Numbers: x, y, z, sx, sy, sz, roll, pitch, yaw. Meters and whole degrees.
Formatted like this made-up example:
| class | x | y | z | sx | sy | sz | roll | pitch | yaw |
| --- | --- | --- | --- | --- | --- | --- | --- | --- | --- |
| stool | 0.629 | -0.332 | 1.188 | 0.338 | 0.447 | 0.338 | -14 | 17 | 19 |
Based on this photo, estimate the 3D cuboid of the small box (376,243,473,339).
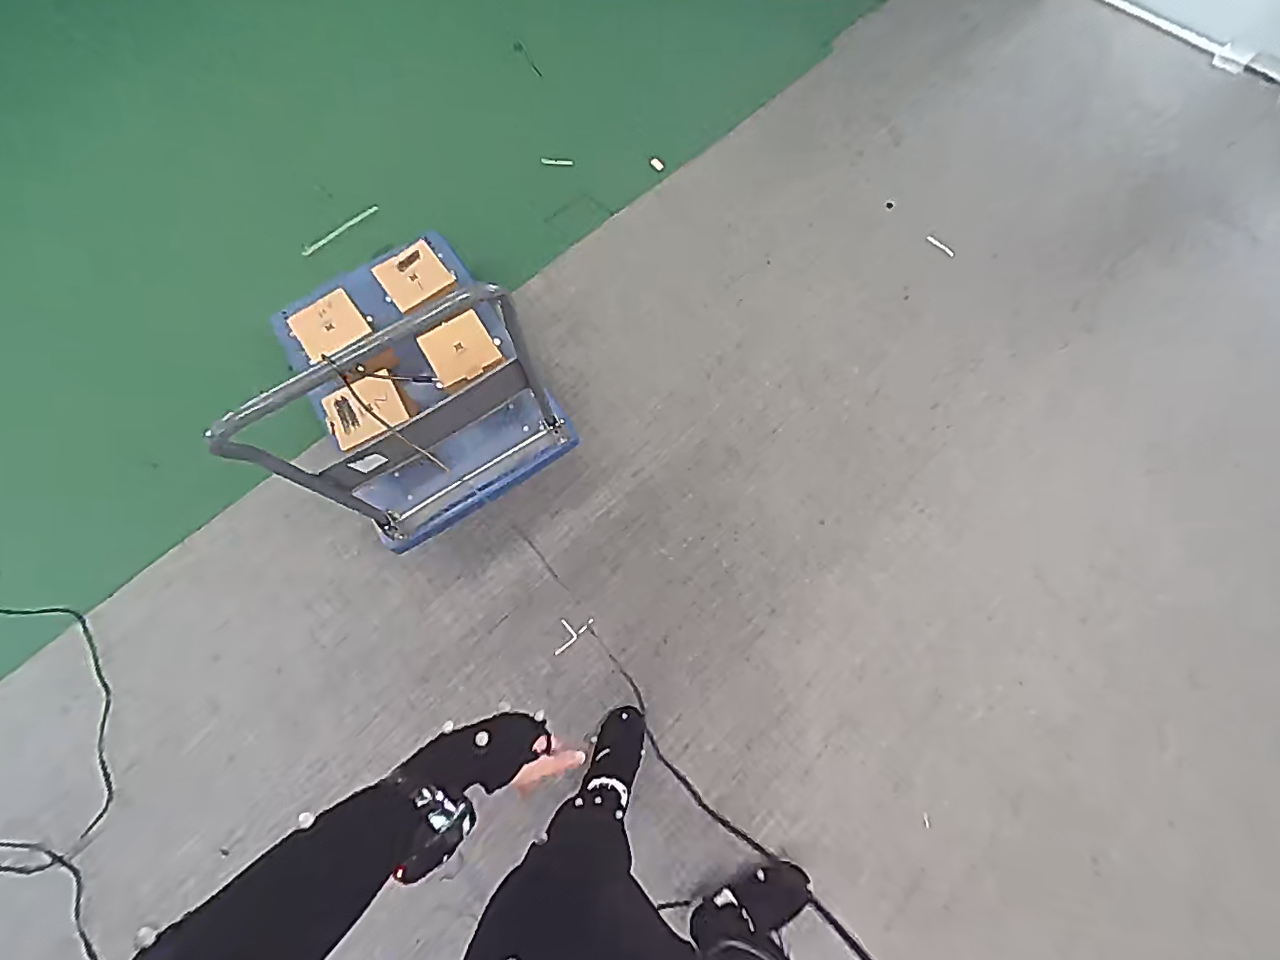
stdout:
| class | x | y | z | sx | sy | sz | roll | pitch | yaw |
| --- | --- | --- | --- | --- | --- | --- | --- | --- | --- |
| small box | -0.599 | -0.517 | 1.525 | 0.168 | 0.176 | 0.179 | -36 | 75 | -9 |

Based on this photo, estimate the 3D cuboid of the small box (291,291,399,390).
| class | x | y | z | sx | sy | sz | roll | pitch | yaw |
| --- | --- | --- | --- | --- | --- | --- | --- | --- | --- |
| small box | -0.799 | -0.370 | 1.483 | 0.168 | 0.176 | 0.179 | -36 | 74 | -10 |

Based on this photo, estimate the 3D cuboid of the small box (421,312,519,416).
| class | x | y | z | sx | sy | sz | roll | pitch | yaw |
| --- | --- | --- | --- | --- | --- | --- | --- | --- | --- |
| small box | -0.450 | -0.304 | 1.449 | 0.168 | 0.176 | 0.179 | -32 | 74 | -8 |
